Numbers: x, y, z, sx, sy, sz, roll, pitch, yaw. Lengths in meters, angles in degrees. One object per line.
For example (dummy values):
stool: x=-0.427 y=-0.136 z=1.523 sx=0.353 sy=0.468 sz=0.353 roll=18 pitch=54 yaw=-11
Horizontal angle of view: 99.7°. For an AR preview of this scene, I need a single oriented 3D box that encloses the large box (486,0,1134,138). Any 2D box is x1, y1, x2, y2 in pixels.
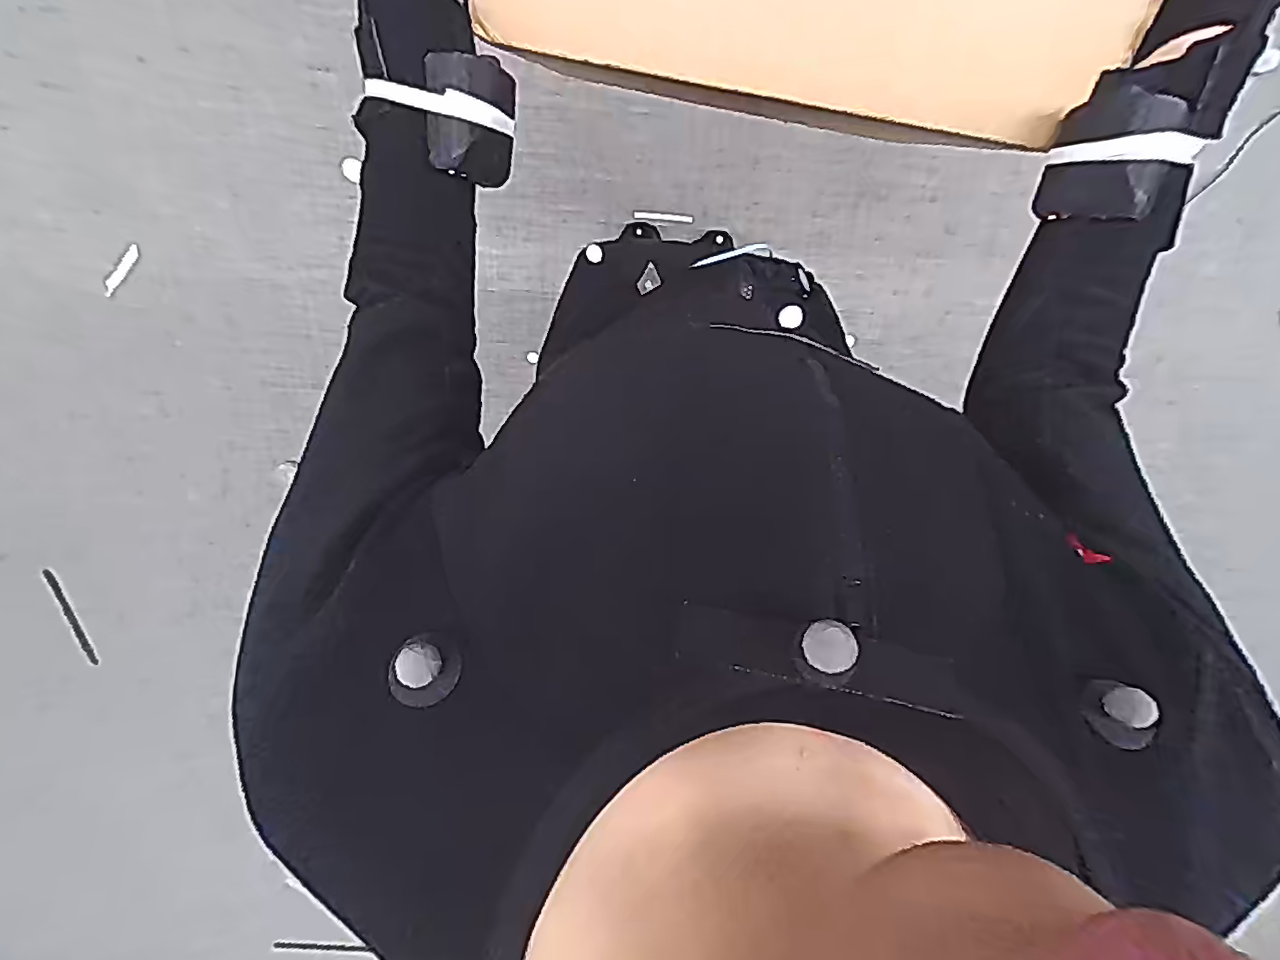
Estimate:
large box: x=0.120 y=-0.467 z=0.397 sx=0.408 sy=0.320 sz=0.320 roll=8 pitch=125 yaw=-4
